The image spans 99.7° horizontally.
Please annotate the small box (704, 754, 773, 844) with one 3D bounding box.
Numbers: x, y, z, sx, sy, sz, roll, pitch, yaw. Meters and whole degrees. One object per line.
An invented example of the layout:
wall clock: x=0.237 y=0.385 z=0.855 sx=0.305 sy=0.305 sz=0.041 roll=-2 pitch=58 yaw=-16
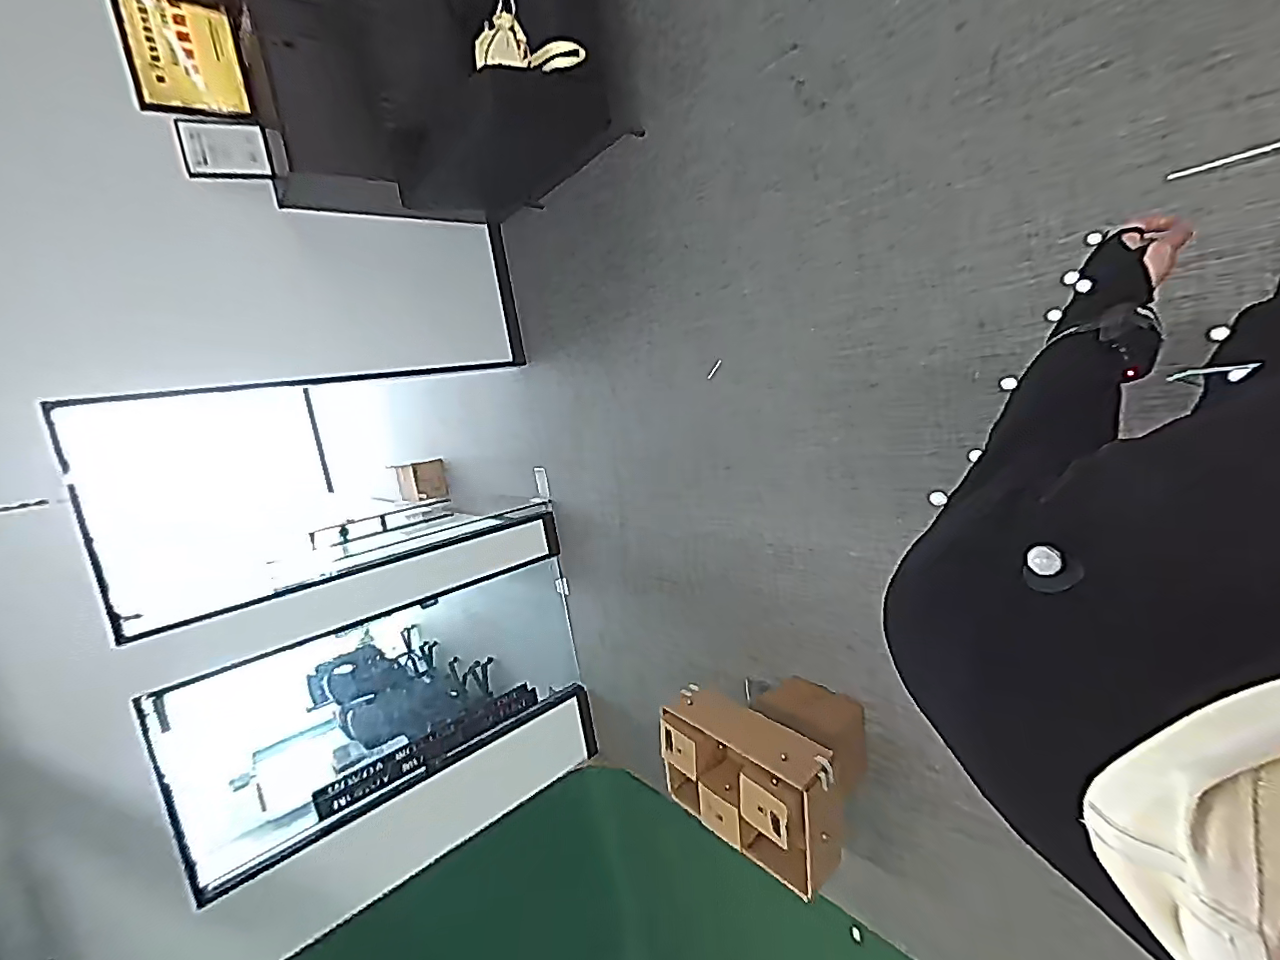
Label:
small box: x=0.344 y=1.085 z=1.858 sx=0.179 sy=0.176 sz=0.168 roll=9 pitch=108 yaw=48
